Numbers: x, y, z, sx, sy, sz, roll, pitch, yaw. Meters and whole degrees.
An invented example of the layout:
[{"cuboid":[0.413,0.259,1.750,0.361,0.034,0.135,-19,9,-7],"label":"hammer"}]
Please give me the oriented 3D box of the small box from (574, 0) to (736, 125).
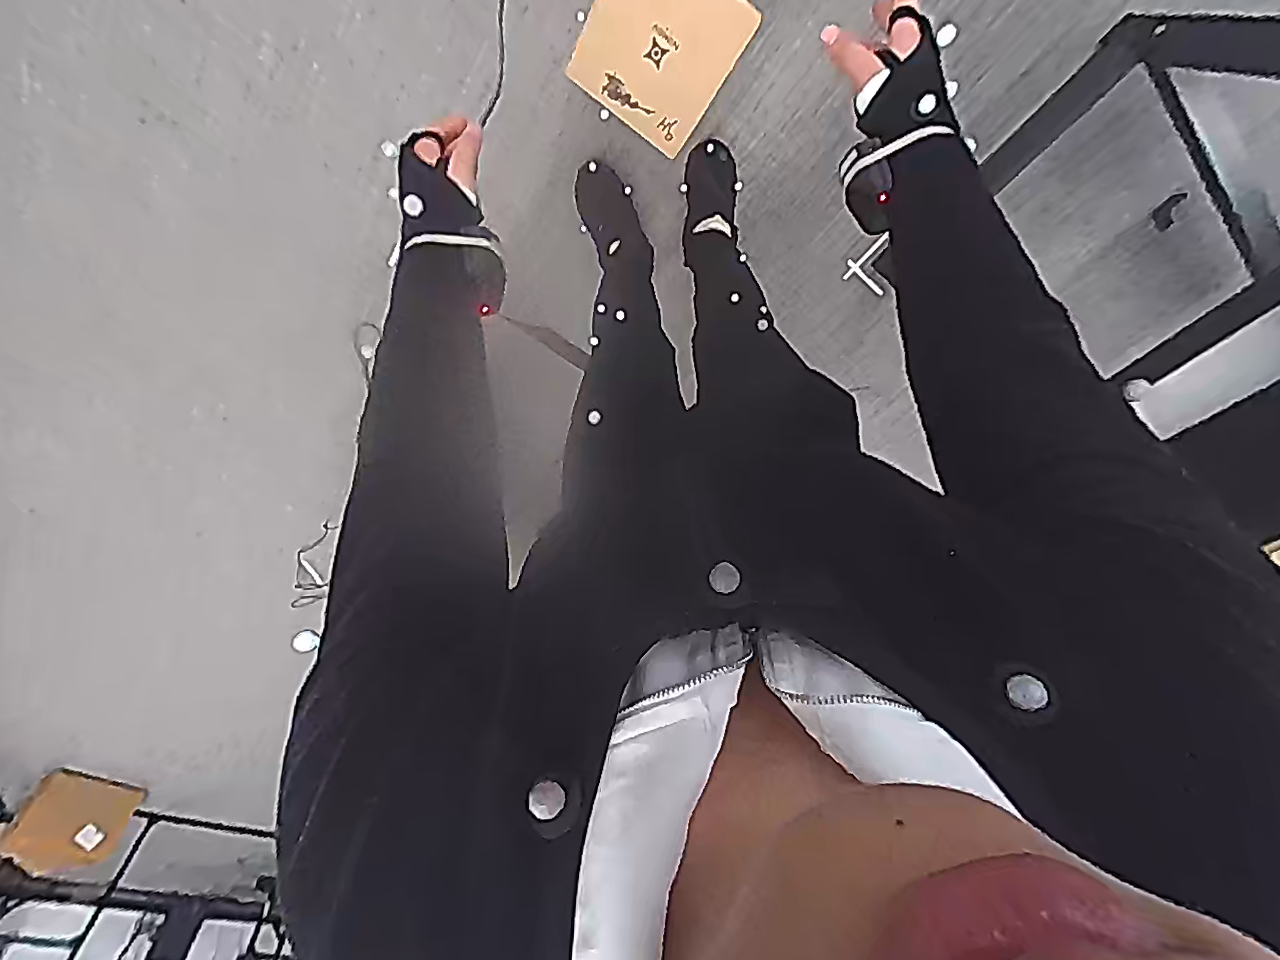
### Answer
[{"cuboid":[0.016,-0.674,0.803,0.168,0.176,0.179,23,125,-22],"label":"small box"}]
